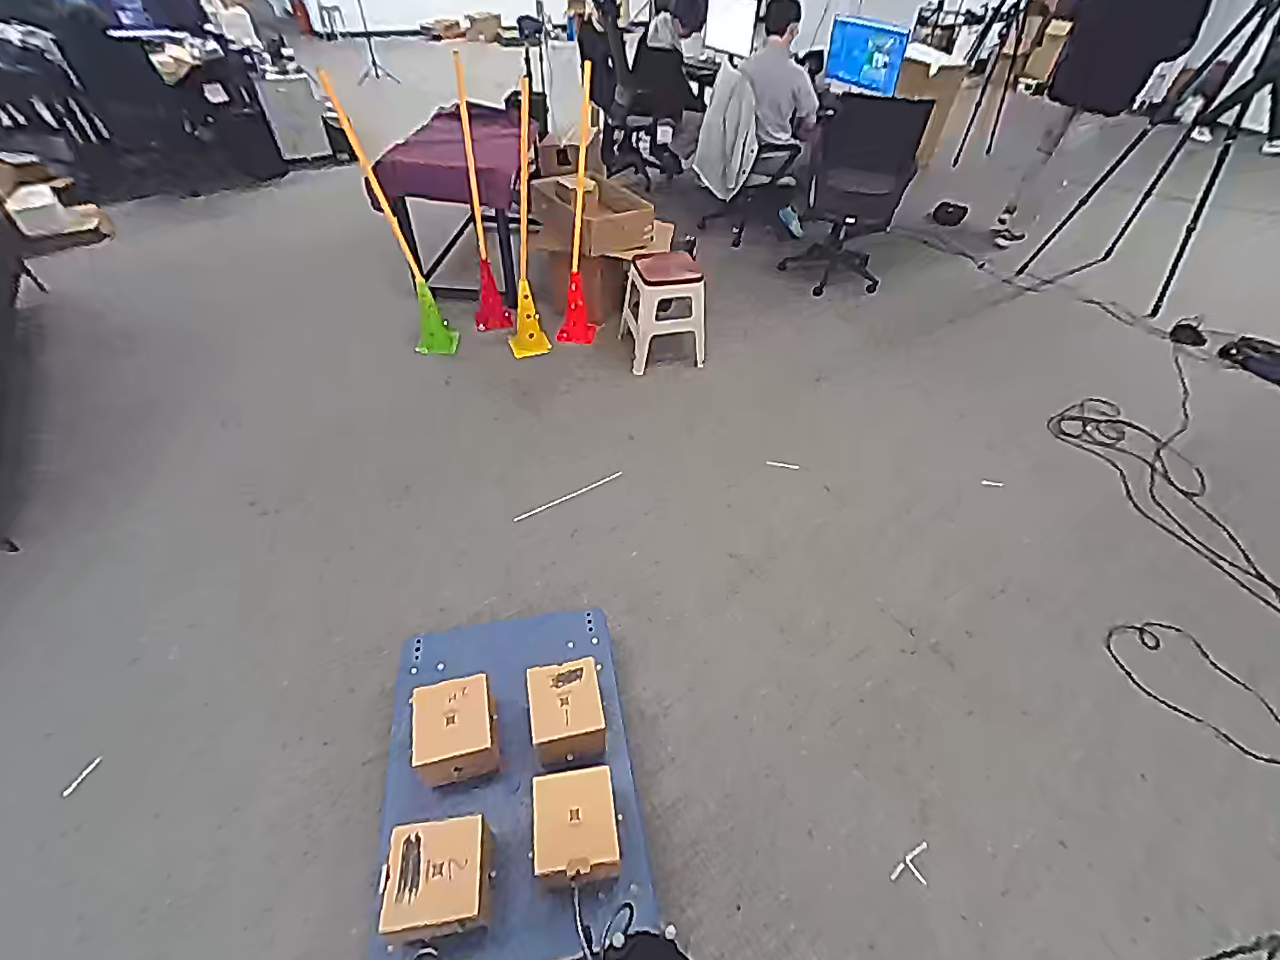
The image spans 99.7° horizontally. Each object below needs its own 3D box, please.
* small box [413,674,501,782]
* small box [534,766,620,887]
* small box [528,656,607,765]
[{"bbox_3d":[-0.428,0.590,1.276,0.168,0.176,0.179,-9,48,-12],"label":"small box"},{"bbox_3d":[-0.136,0.739,1.154,0.168,0.176,0.179,-5,48,-8],"label":"small box"},{"bbox_3d":[-0.176,0.561,1.316,0.168,0.176,0.179,-9,48,-10],"label":"small box"}]
